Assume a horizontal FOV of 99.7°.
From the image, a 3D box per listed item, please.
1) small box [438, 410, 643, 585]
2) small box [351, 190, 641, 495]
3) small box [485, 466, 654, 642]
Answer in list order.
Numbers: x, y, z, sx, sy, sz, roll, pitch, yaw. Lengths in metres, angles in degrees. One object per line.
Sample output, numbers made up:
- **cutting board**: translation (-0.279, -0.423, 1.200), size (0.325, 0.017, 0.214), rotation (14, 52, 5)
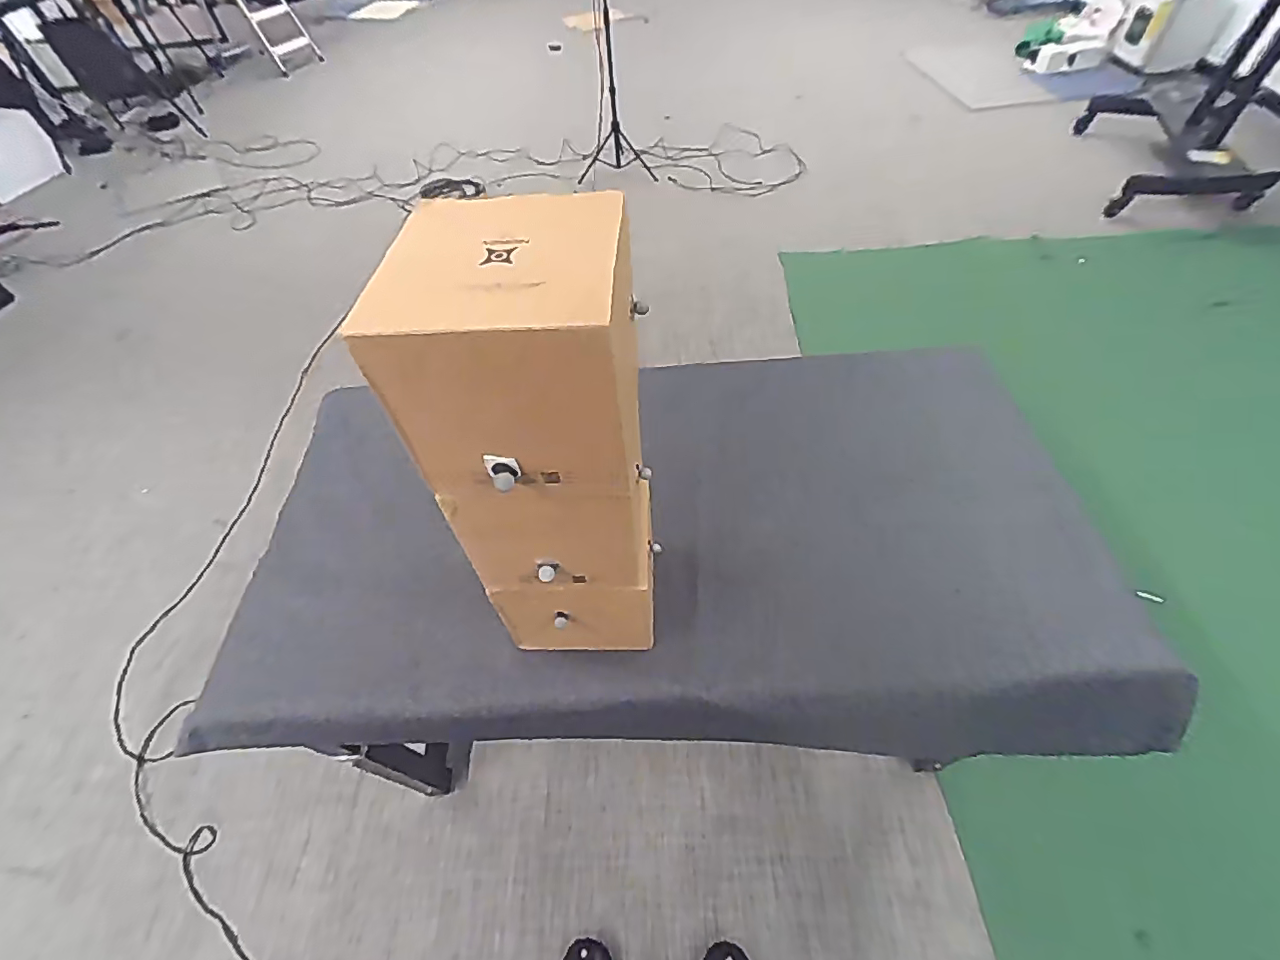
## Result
- **small box**: translation (-0.084, -0.009, 0.564), size (0.168, 0.176, 0.179), rotation (0, 52, 3)
- **small box**: translation (-0.088, -0.107, 0.435), size (0.168, 0.176, 0.179), rotation (-1, 53, 4)
- **small box**: translation (-0.074, 0.098, 0.689), size (0.179, 0.176, 0.168), rotation (0, 52, 3)
